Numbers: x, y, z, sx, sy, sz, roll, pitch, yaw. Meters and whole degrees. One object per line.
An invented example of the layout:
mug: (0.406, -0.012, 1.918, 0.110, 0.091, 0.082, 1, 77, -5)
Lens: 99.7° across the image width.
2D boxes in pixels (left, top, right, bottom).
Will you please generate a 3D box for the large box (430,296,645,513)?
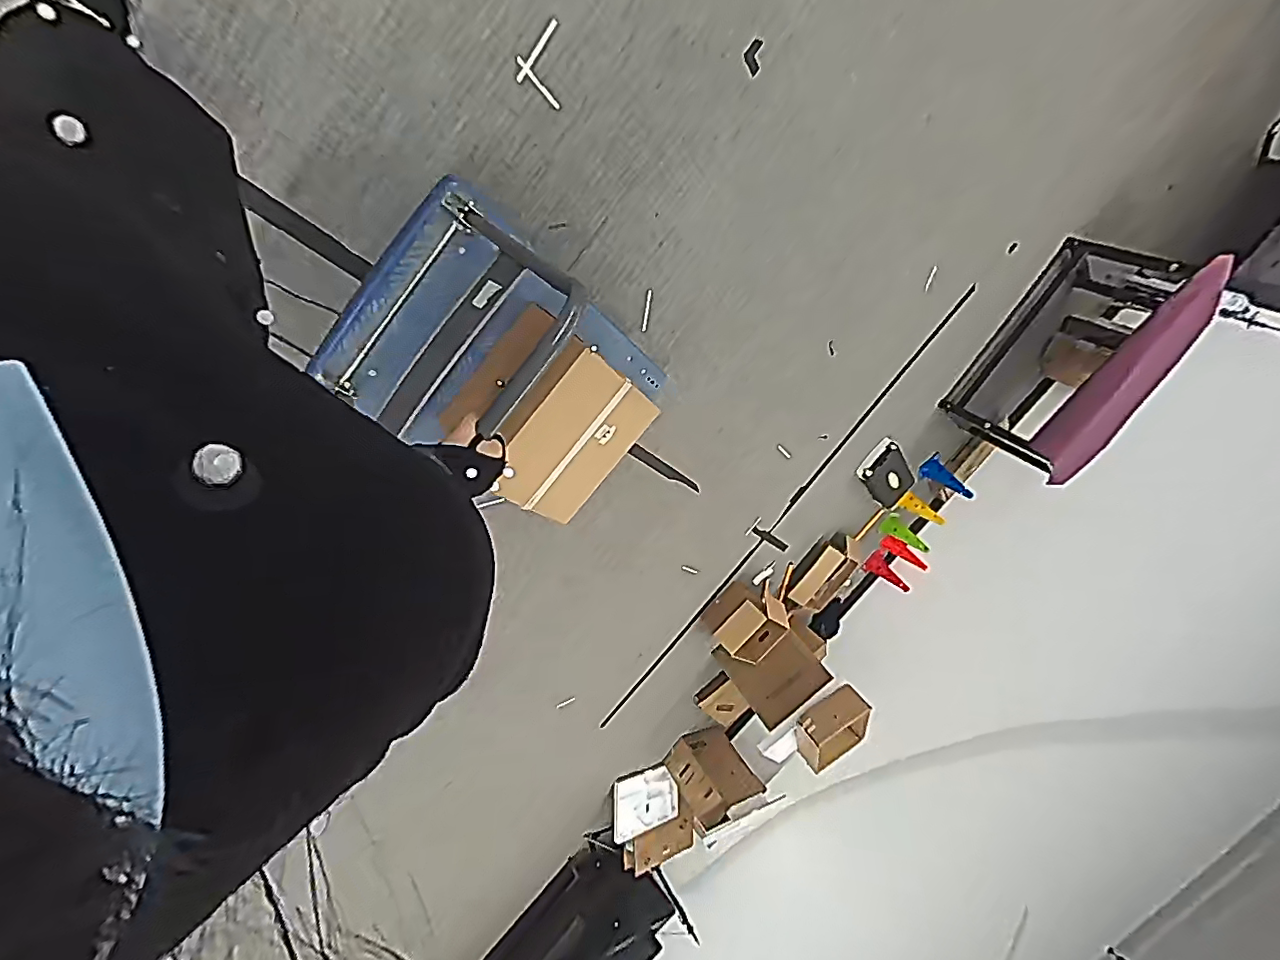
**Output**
large box: (-0.273, -0.192, 1.414, 0.408, 0.320, 0.320, -51, 141, 5)
